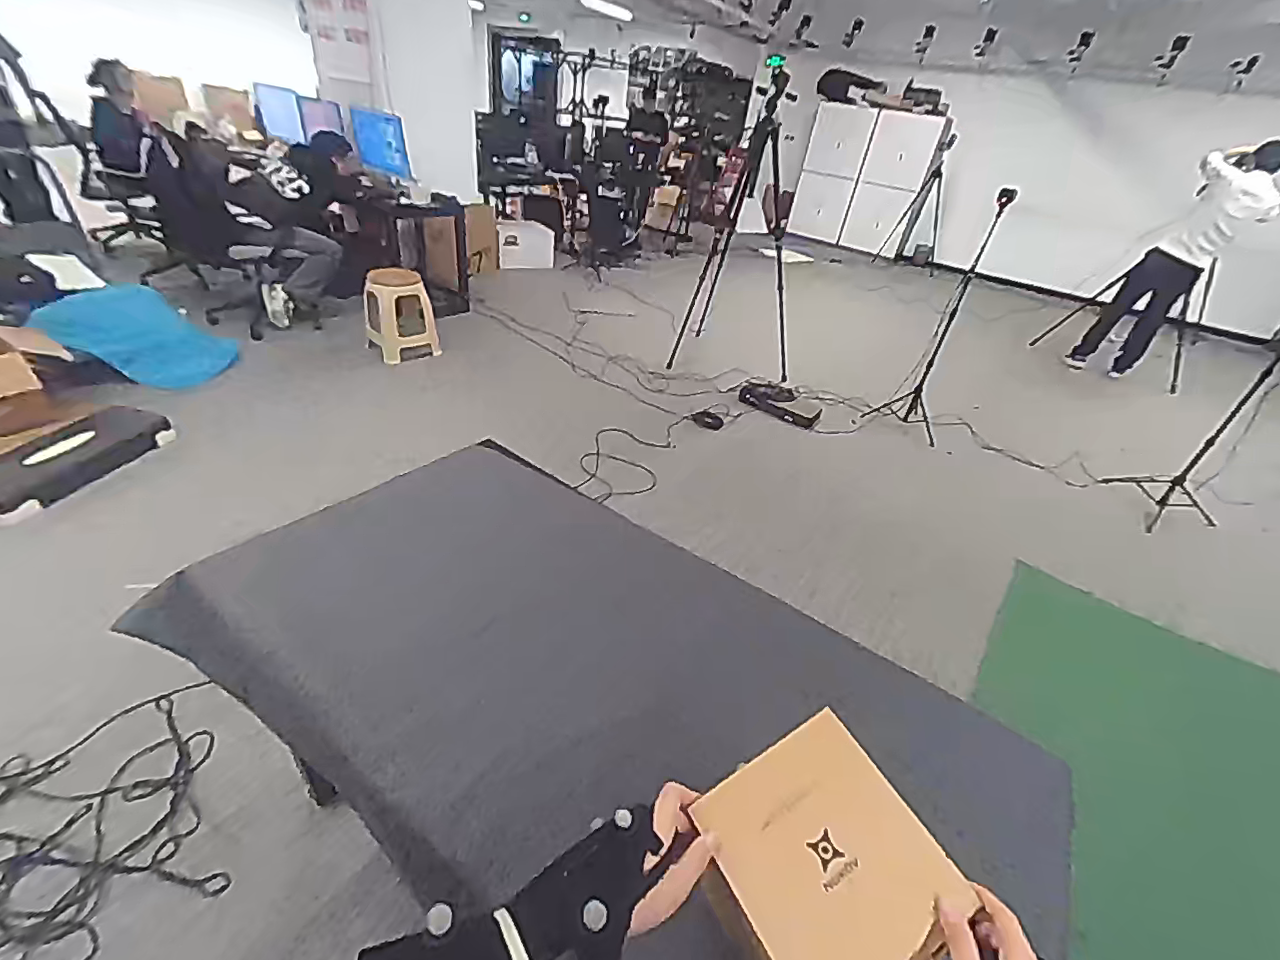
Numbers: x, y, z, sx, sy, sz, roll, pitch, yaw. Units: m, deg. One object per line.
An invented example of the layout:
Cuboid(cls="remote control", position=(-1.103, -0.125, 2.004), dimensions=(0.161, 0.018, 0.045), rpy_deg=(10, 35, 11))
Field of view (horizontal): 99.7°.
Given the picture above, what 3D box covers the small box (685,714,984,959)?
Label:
Cuboid(cls="small box", position=(0.157, 0.359, 0.500), dimensions=(0.168, 0.176, 0.179), rpy_deg=(-25, 53, -20))
